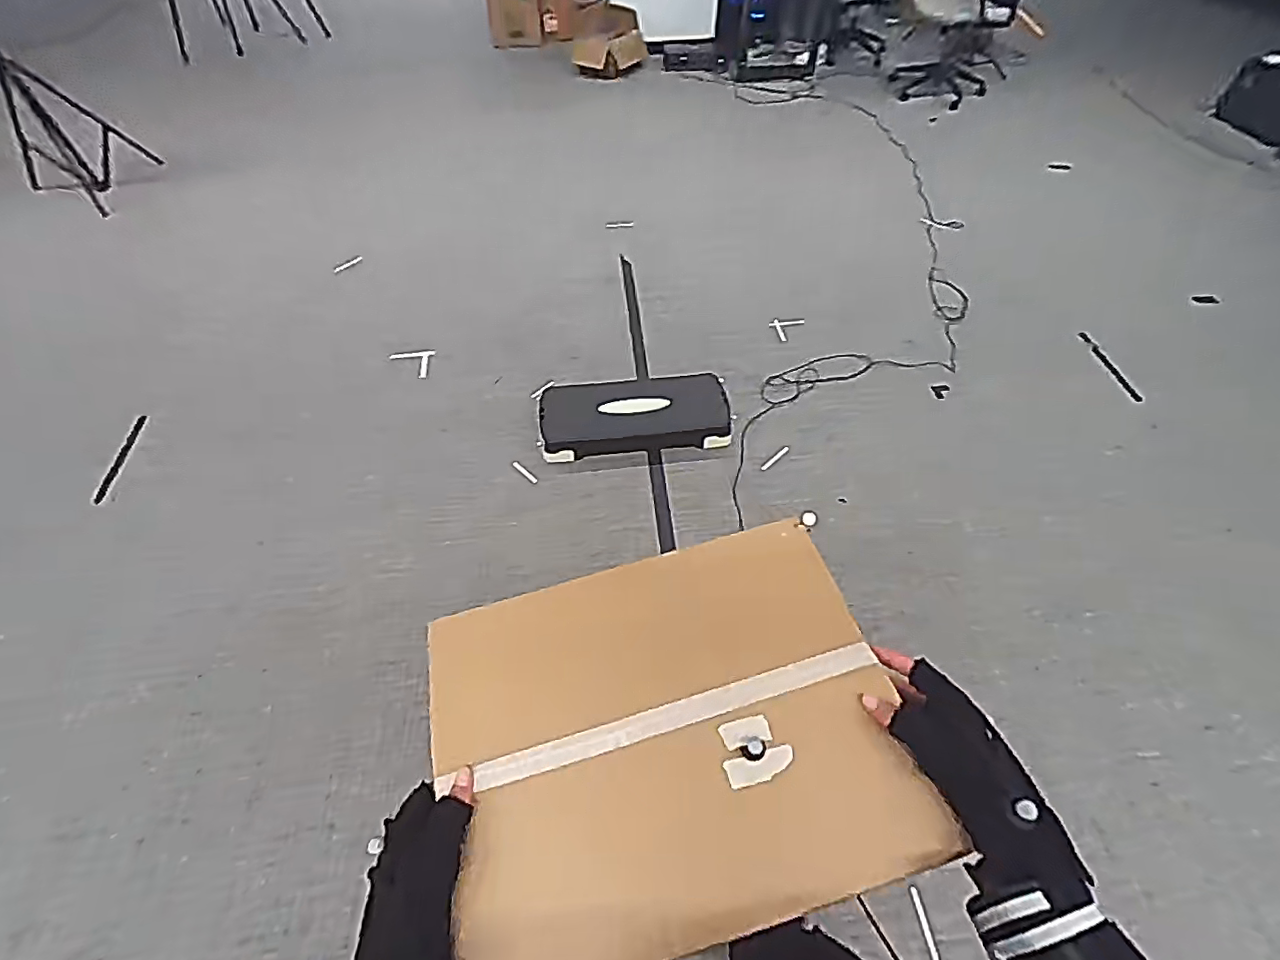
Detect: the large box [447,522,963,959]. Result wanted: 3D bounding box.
[{"bbox_3d":[0.039,0.302,0.614,0.408,0.320,0.320,-15,55,-5],"label":"large box"}]
